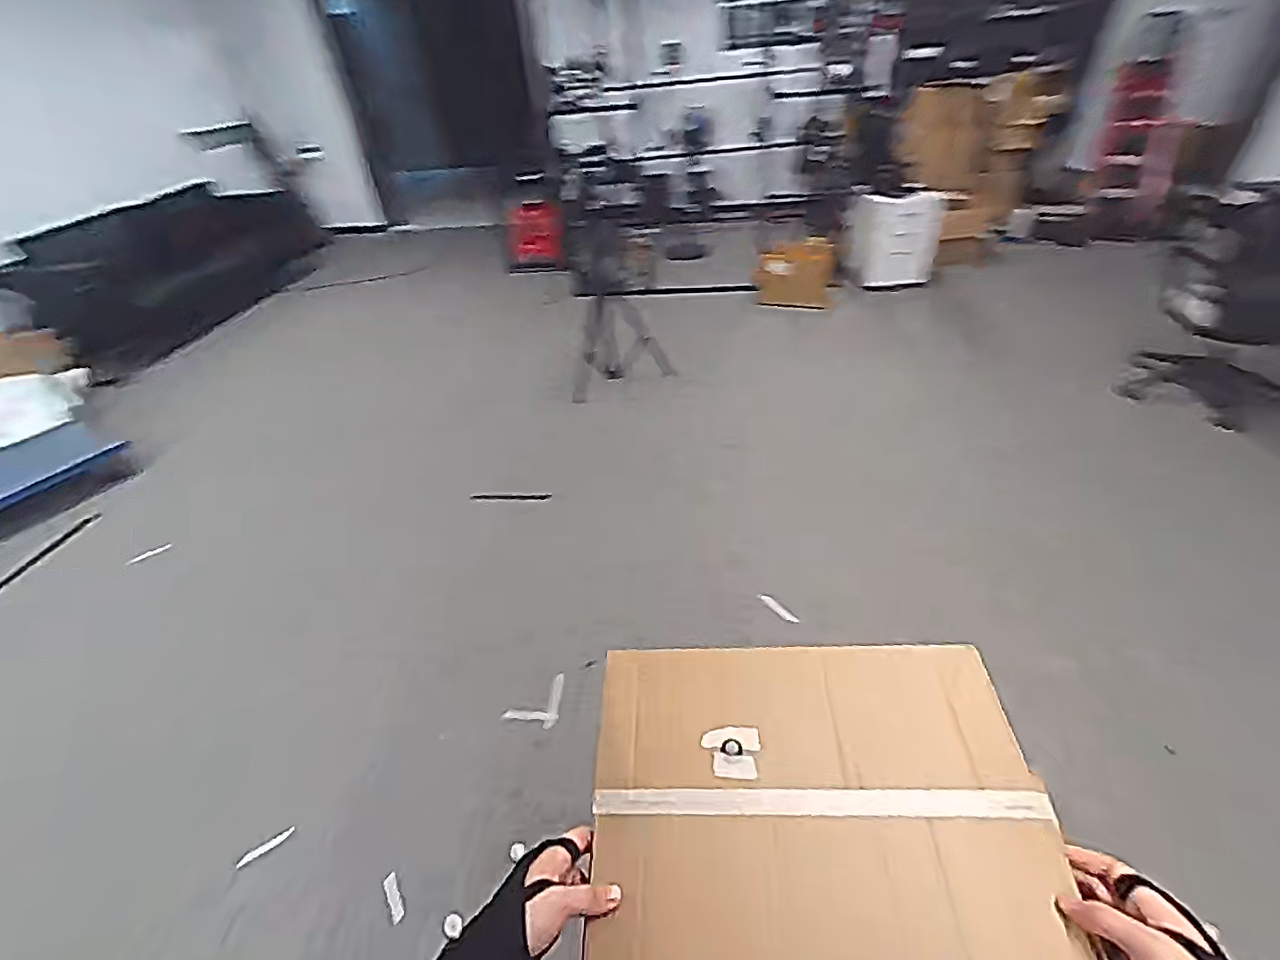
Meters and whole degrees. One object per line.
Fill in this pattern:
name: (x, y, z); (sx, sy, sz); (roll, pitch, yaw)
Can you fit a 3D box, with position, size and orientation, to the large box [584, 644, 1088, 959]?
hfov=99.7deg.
large box: (0.172, 0.411, 0.616); (0.408, 0.320, 0.320); (-5, 45, 6)
